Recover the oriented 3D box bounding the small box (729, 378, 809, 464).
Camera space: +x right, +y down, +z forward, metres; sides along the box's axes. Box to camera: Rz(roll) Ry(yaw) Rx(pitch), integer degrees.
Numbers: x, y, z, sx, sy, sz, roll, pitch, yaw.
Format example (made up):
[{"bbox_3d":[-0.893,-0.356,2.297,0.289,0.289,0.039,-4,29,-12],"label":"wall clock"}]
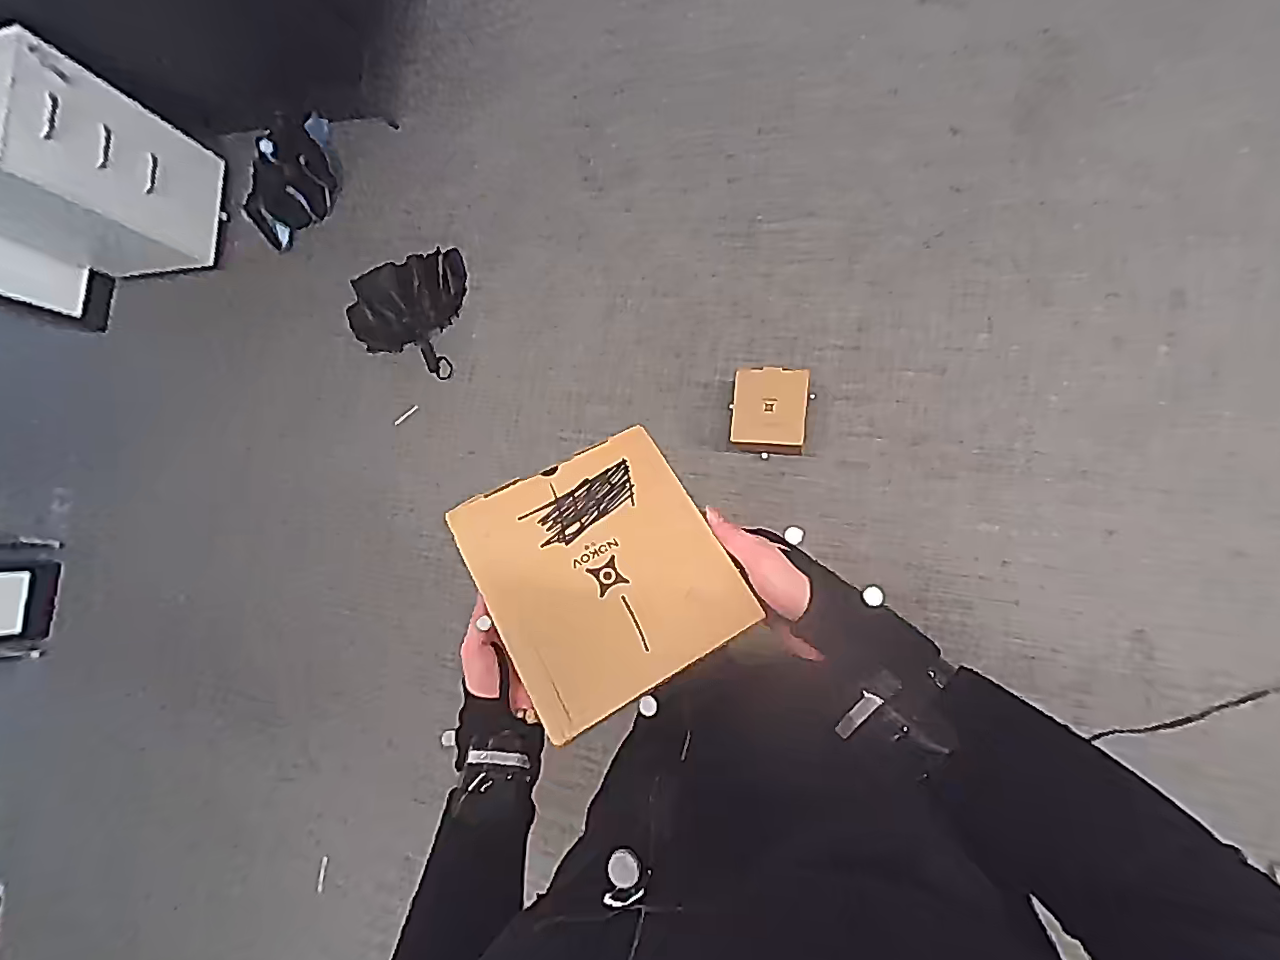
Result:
[{"bbox_3d":[0.317,-0.139,1.312,0.168,0.176,0.179,4,86,18],"label":"small box"}]
